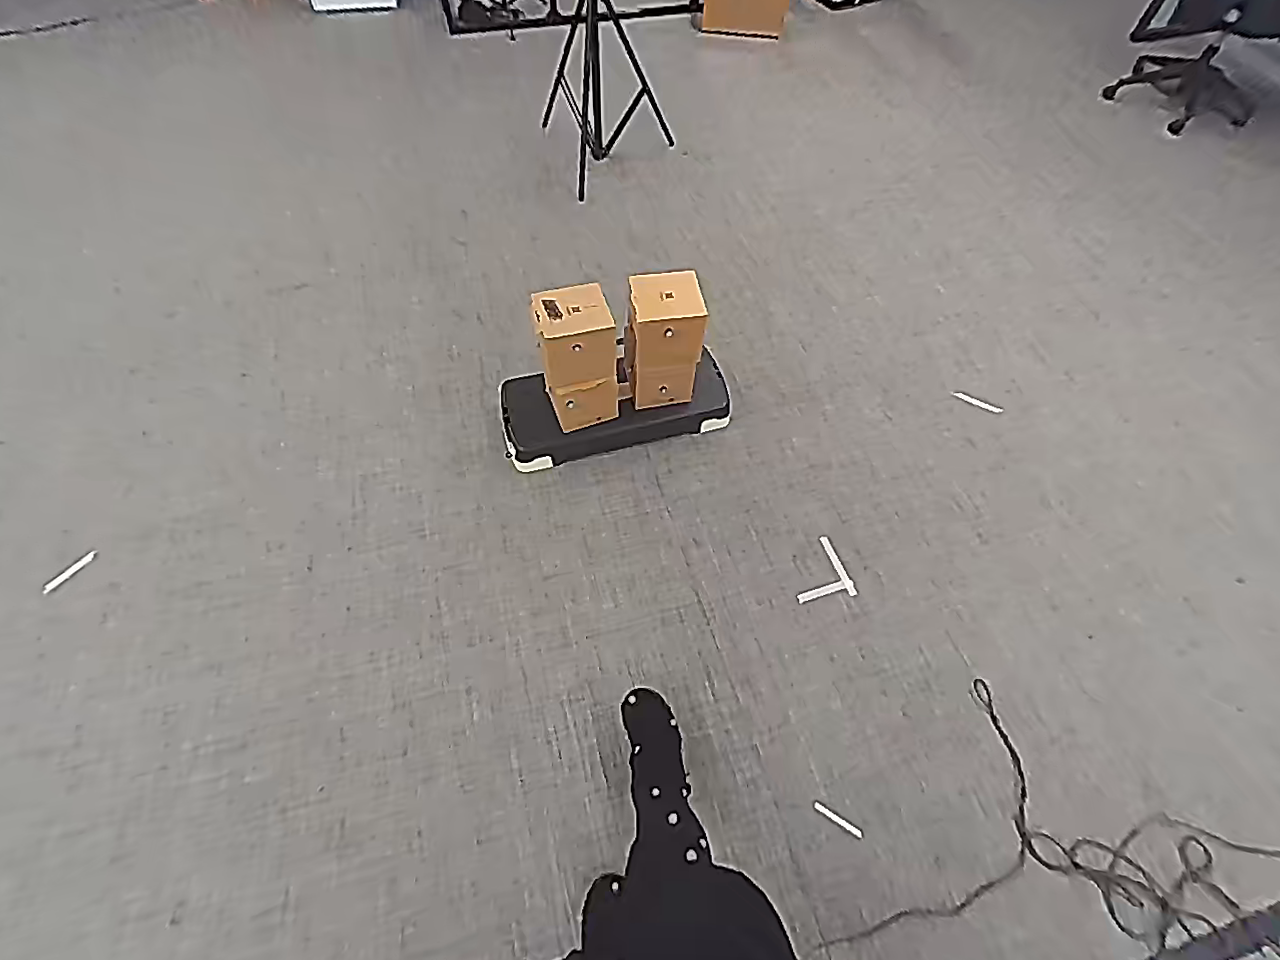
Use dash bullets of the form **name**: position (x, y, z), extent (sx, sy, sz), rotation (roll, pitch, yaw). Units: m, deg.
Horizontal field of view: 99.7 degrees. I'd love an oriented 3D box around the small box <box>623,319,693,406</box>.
- **small box**: position (0.047, -0.328, 1.543), extent (0.168, 0.176, 0.179), rotation (-10, 60, -7)
